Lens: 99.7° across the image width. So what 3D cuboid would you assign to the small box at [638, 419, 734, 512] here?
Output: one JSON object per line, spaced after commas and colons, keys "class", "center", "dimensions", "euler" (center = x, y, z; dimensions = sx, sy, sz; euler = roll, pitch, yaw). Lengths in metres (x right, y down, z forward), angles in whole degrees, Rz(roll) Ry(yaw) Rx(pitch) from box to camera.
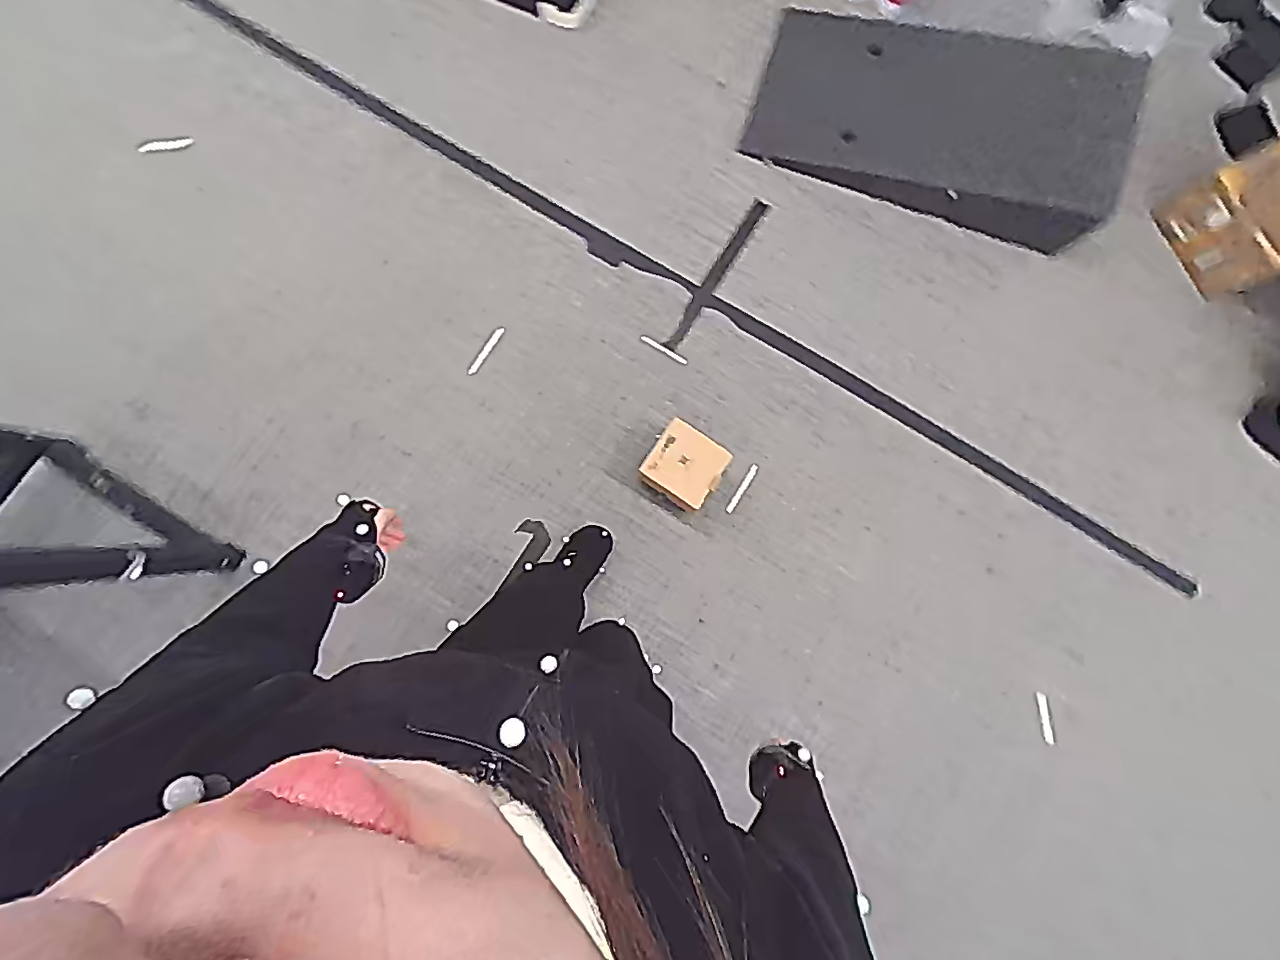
{"class": "small box", "center": [0.112, -0.033, 1.396], "dimensions": [0.179, 0.176, 0.168], "euler": [35, 84, 0]}
